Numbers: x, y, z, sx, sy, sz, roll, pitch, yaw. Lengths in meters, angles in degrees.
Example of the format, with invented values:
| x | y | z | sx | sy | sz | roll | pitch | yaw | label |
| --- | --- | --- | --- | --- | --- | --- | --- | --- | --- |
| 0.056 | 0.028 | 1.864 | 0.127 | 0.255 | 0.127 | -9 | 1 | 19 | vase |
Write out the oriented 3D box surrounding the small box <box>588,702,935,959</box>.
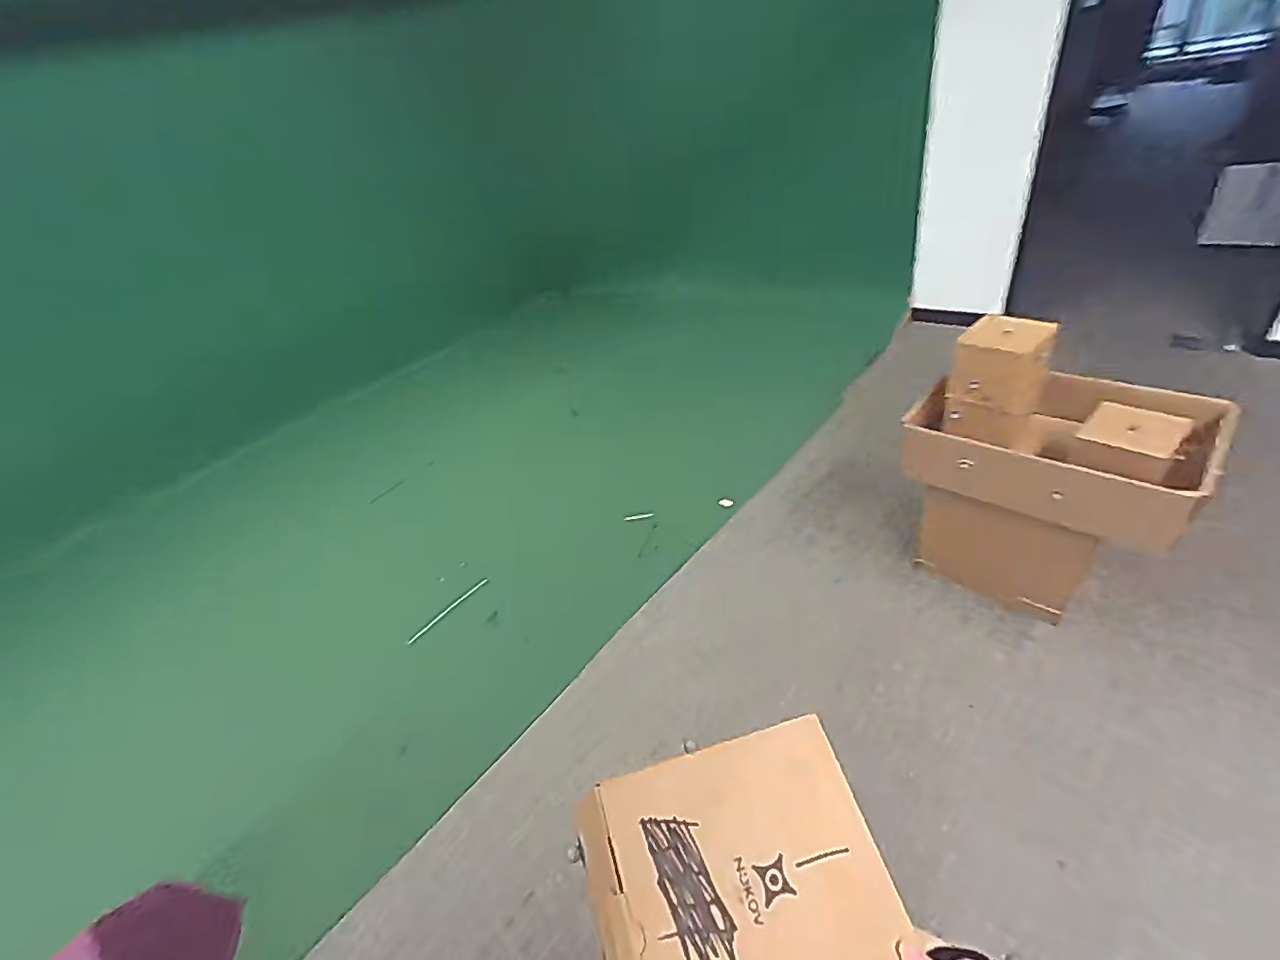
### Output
| x | y | z | sx | sy | sz | roll | pitch | yaw | label |
| --- | --- | --- | --- | --- | --- | --- | --- | --- | --- |
| 0.063 | 0.291 | 0.406 | 0.179 | 0.176 | 0.168 | -7 | 57 | -19 | small box |

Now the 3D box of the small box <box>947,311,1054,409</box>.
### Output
| x | y | z | sx | sy | sz | roll | pitch | yaw | label |
| --- | --- | --- | --- | --- | --- | --- | --- | --- | --- |
| 0.924 | -0.312 | 1.400 | 0.179 | 0.176 | 0.168 | -36 | 42 | -24 | small box |
